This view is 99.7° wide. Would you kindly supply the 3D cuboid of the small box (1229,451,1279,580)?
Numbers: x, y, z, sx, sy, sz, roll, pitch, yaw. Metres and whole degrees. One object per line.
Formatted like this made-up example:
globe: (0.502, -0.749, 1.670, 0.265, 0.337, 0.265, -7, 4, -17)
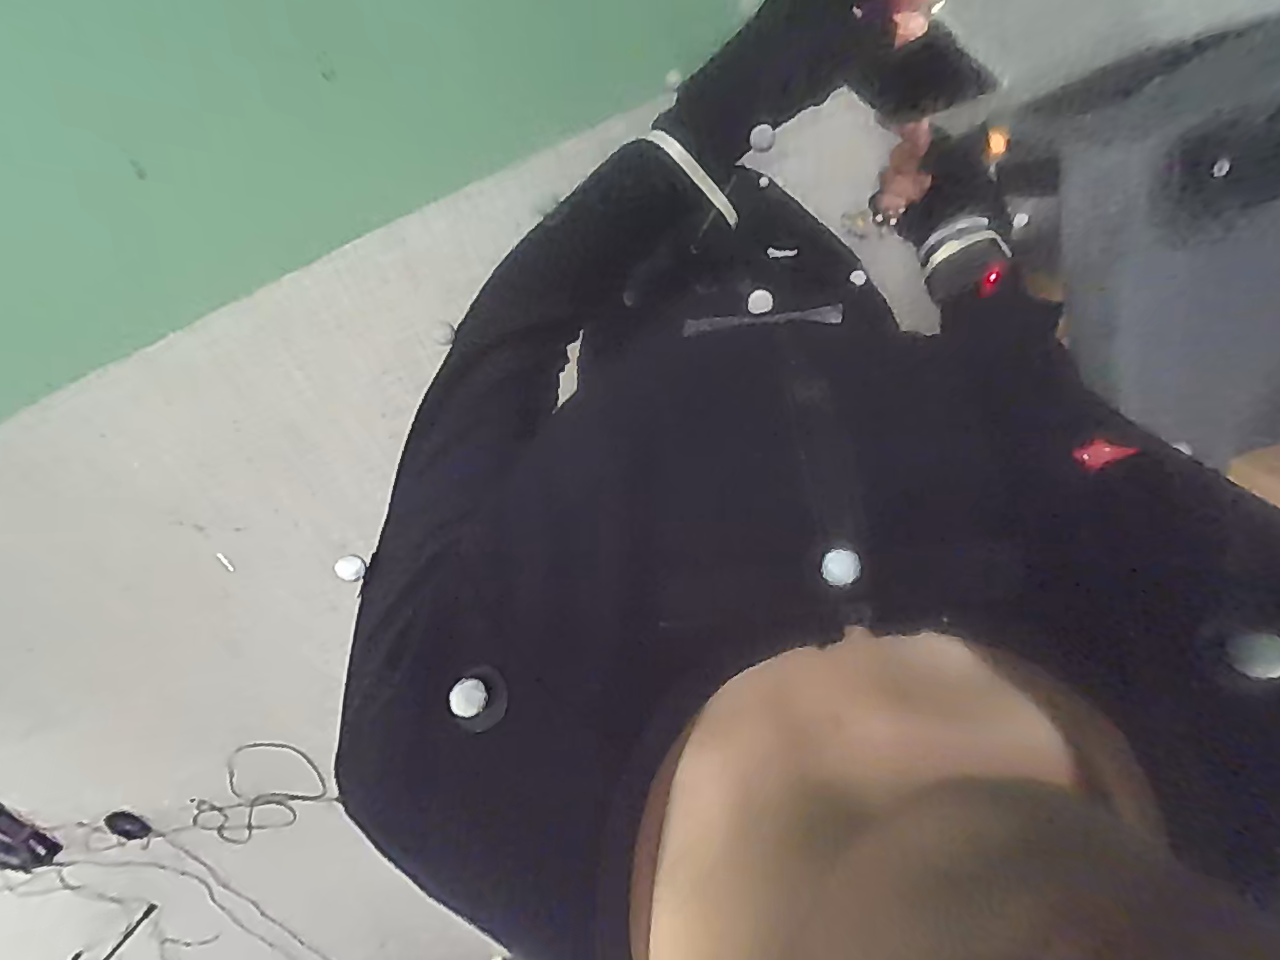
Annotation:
small box: (0.931, 0.053, 0.696, 0.168, 0.176, 0.179, -18, 117, 9)
